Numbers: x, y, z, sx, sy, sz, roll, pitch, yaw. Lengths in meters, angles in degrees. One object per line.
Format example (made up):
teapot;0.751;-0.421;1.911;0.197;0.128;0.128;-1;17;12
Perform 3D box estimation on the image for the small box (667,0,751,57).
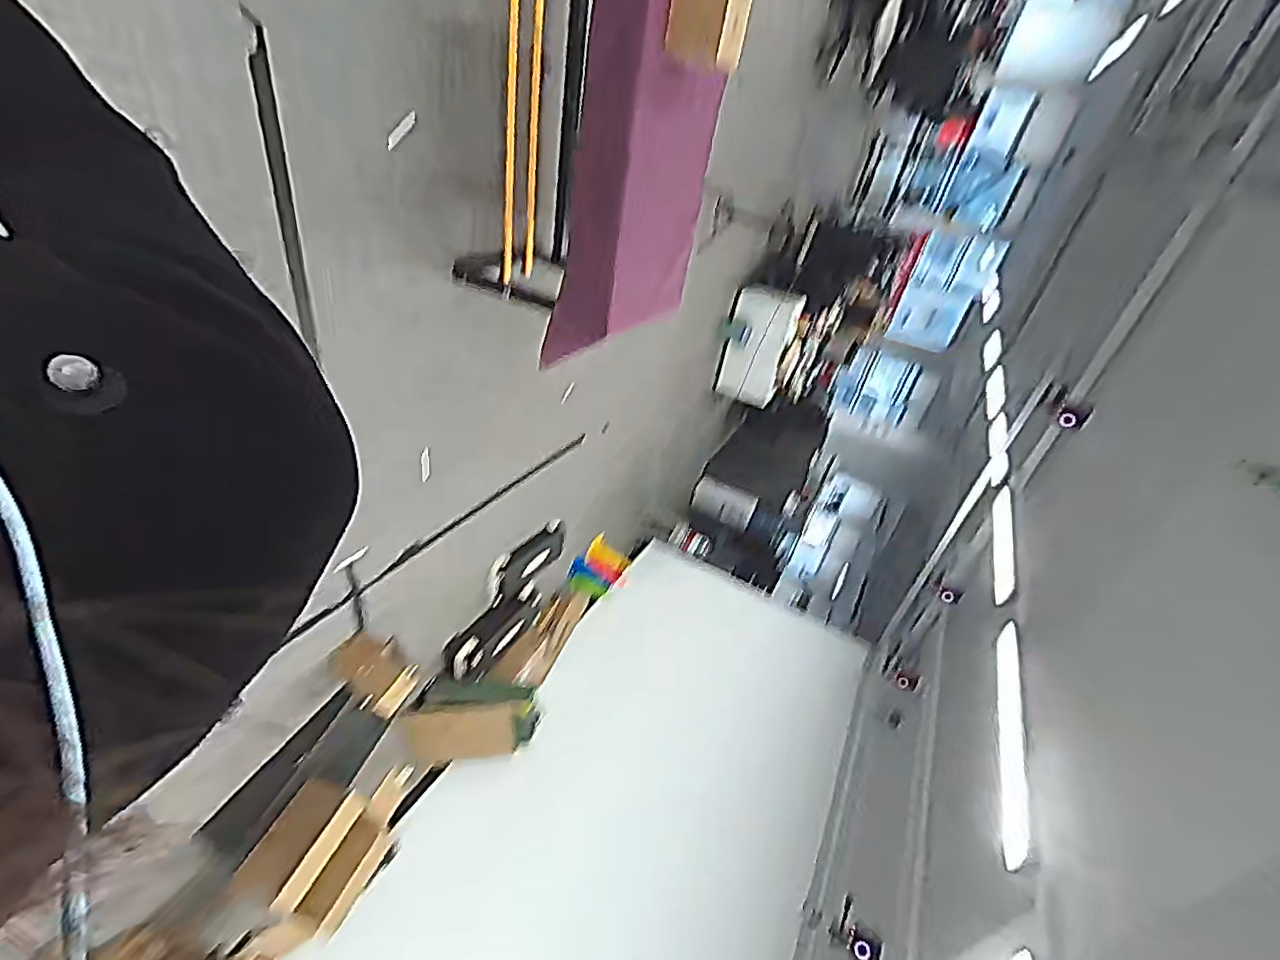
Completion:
small box;0.189;-1.298;1.484;0.168;0.176;0.179;-41;150;-51
